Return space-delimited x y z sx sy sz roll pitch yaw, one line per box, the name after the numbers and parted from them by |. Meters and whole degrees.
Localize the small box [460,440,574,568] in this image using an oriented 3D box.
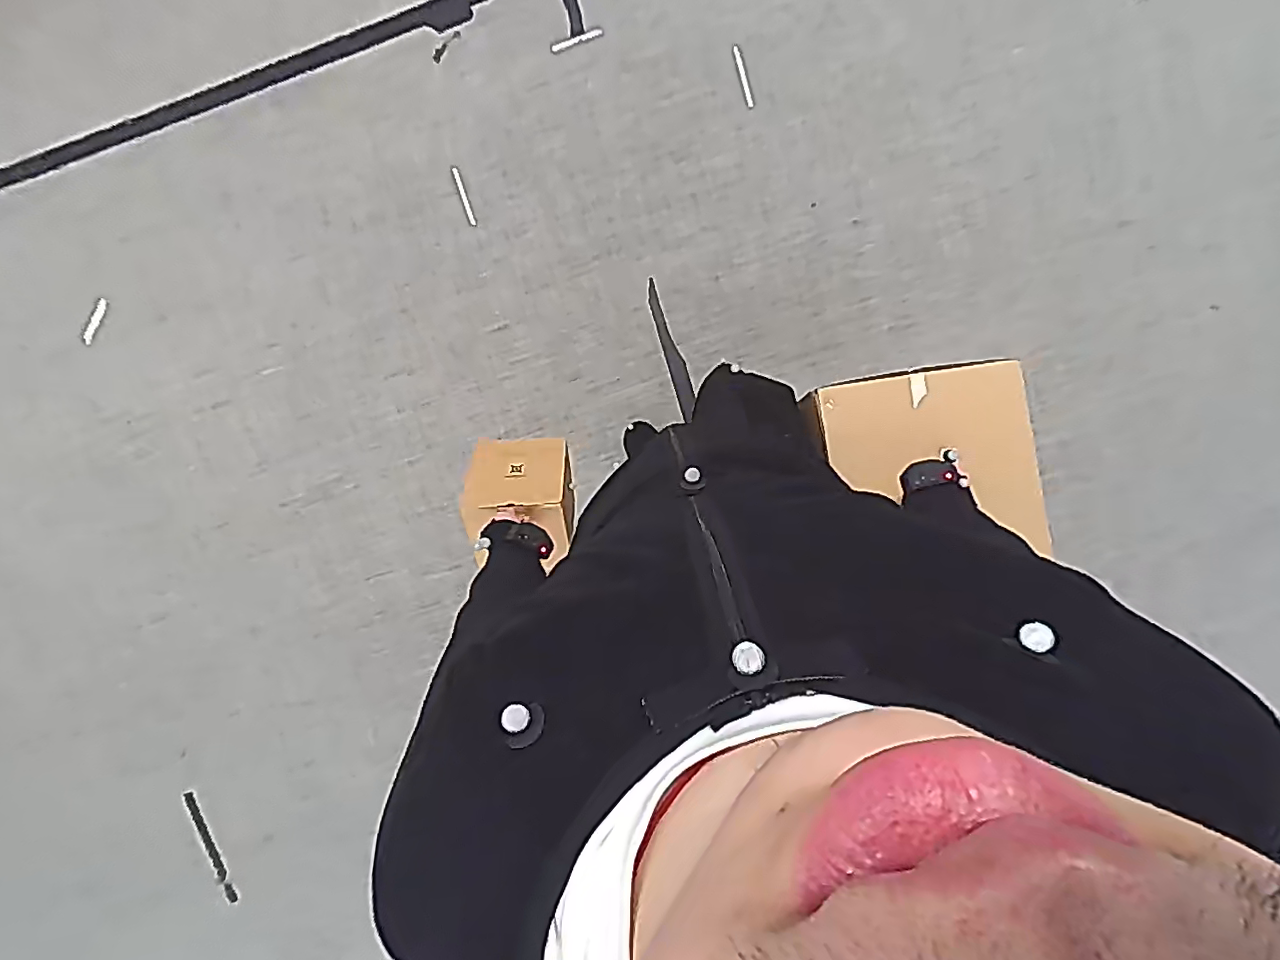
-0.211 0.048 0.981 0.168 0.179 0.176 -2 133 -2 | small box
